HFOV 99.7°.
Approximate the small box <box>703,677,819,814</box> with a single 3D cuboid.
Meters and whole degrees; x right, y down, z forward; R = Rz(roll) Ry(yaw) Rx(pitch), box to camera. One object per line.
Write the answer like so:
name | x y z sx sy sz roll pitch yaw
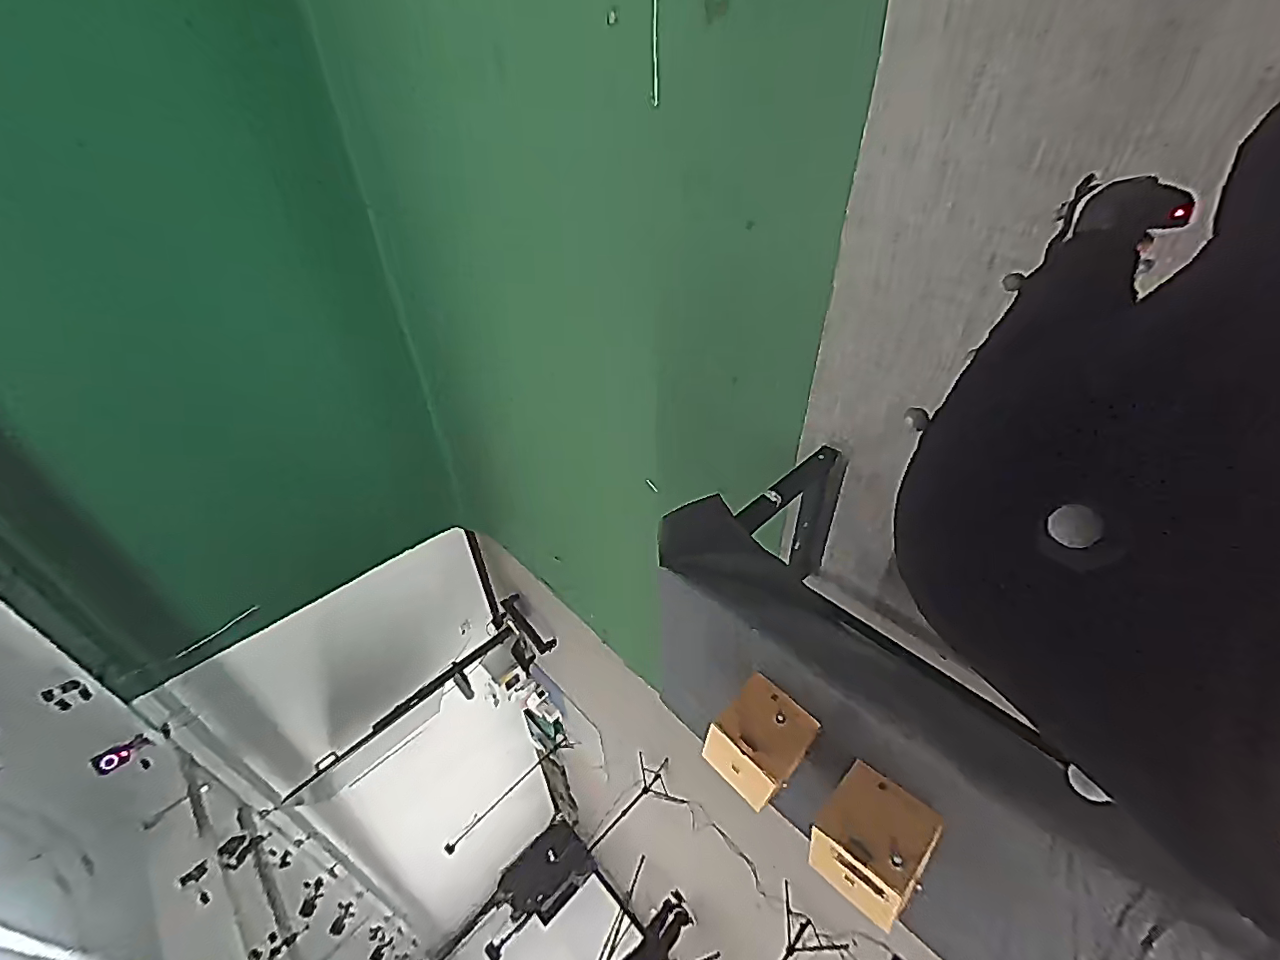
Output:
small box | 0.259 0.567 1.165 0.168 0.176 0.179 36 141 31
